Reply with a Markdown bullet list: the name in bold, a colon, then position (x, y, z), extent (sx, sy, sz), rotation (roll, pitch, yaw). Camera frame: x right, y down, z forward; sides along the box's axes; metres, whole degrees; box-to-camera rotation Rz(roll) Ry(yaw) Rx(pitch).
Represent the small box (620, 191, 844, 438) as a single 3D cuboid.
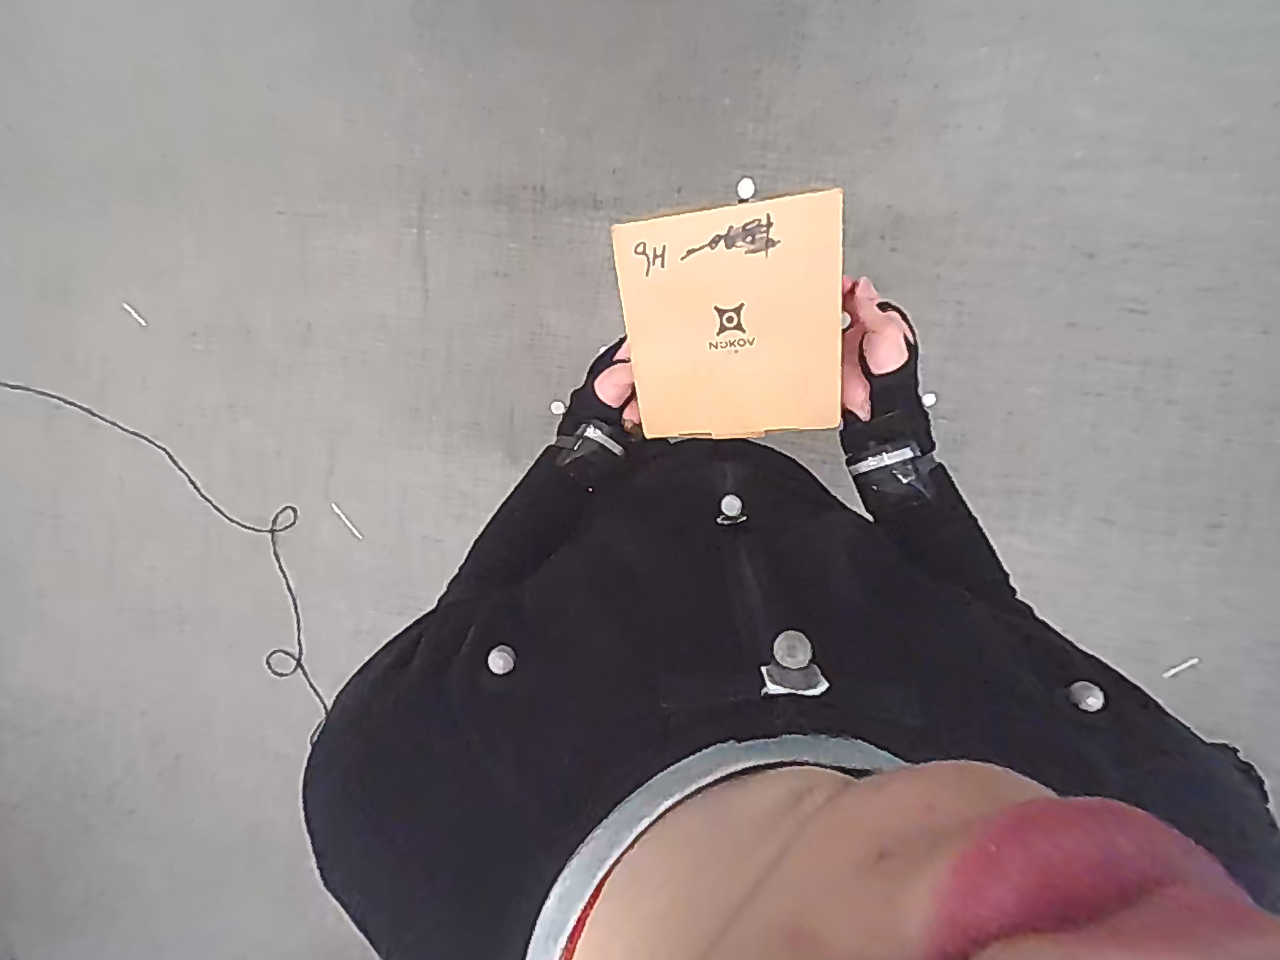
- **small box**: position (0.092, -0.155, 0.501), extent (0.168, 0.176, 0.179), rotation (-3, 119, 14)
